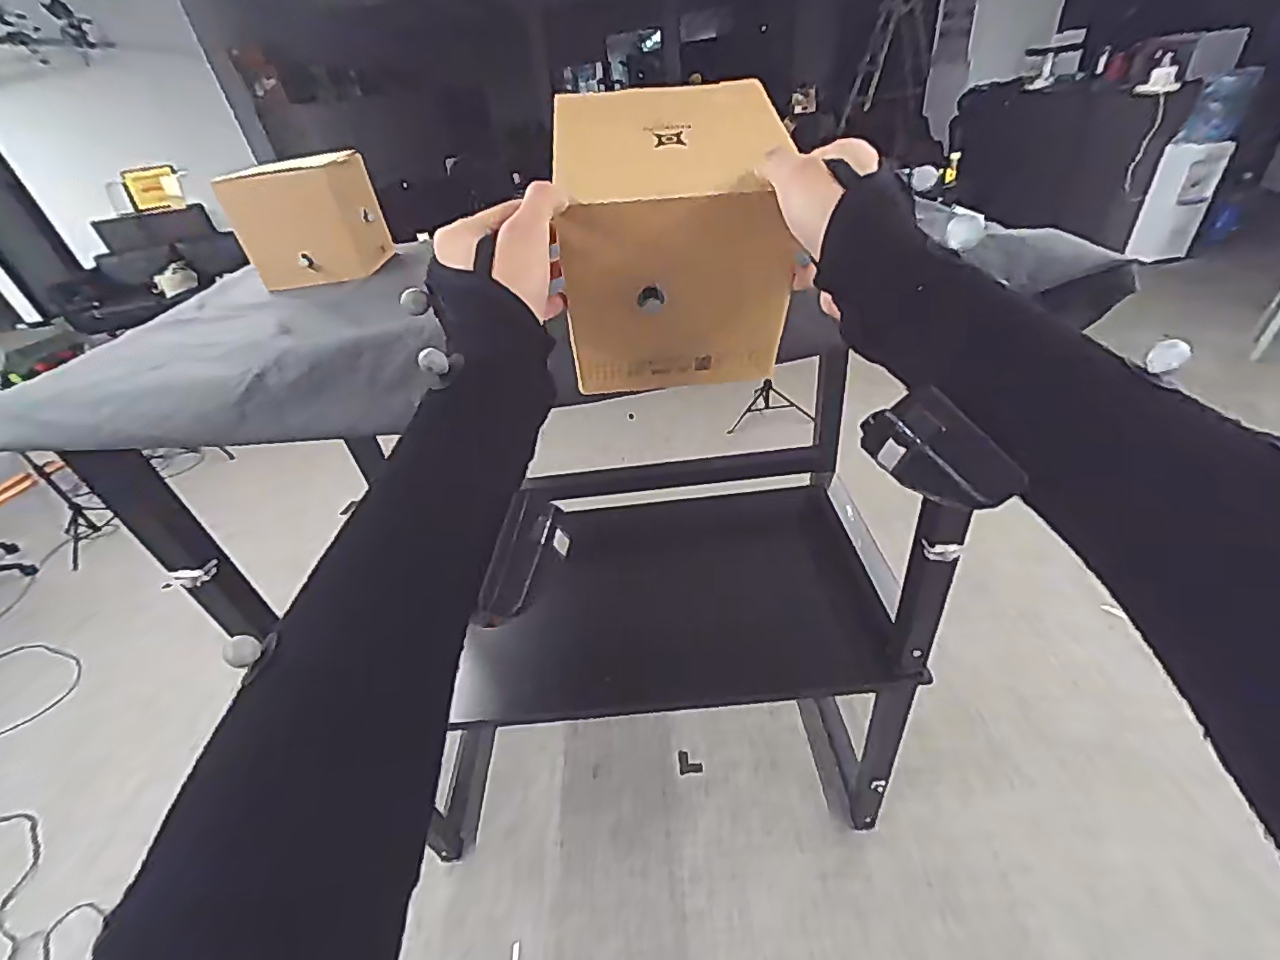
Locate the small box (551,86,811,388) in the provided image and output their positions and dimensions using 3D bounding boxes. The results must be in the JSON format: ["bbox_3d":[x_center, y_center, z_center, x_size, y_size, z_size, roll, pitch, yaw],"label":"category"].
[{"bbox_3d":[0.023,-0.189,0.444,0.168,0.176,0.179,-5,54,-2],"label":"small box"}]

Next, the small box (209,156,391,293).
[{"bbox_3d":[-0.549,-0.429,0.909,0.179,0.176,0.168,-7,37,0],"label":"small box"}]
